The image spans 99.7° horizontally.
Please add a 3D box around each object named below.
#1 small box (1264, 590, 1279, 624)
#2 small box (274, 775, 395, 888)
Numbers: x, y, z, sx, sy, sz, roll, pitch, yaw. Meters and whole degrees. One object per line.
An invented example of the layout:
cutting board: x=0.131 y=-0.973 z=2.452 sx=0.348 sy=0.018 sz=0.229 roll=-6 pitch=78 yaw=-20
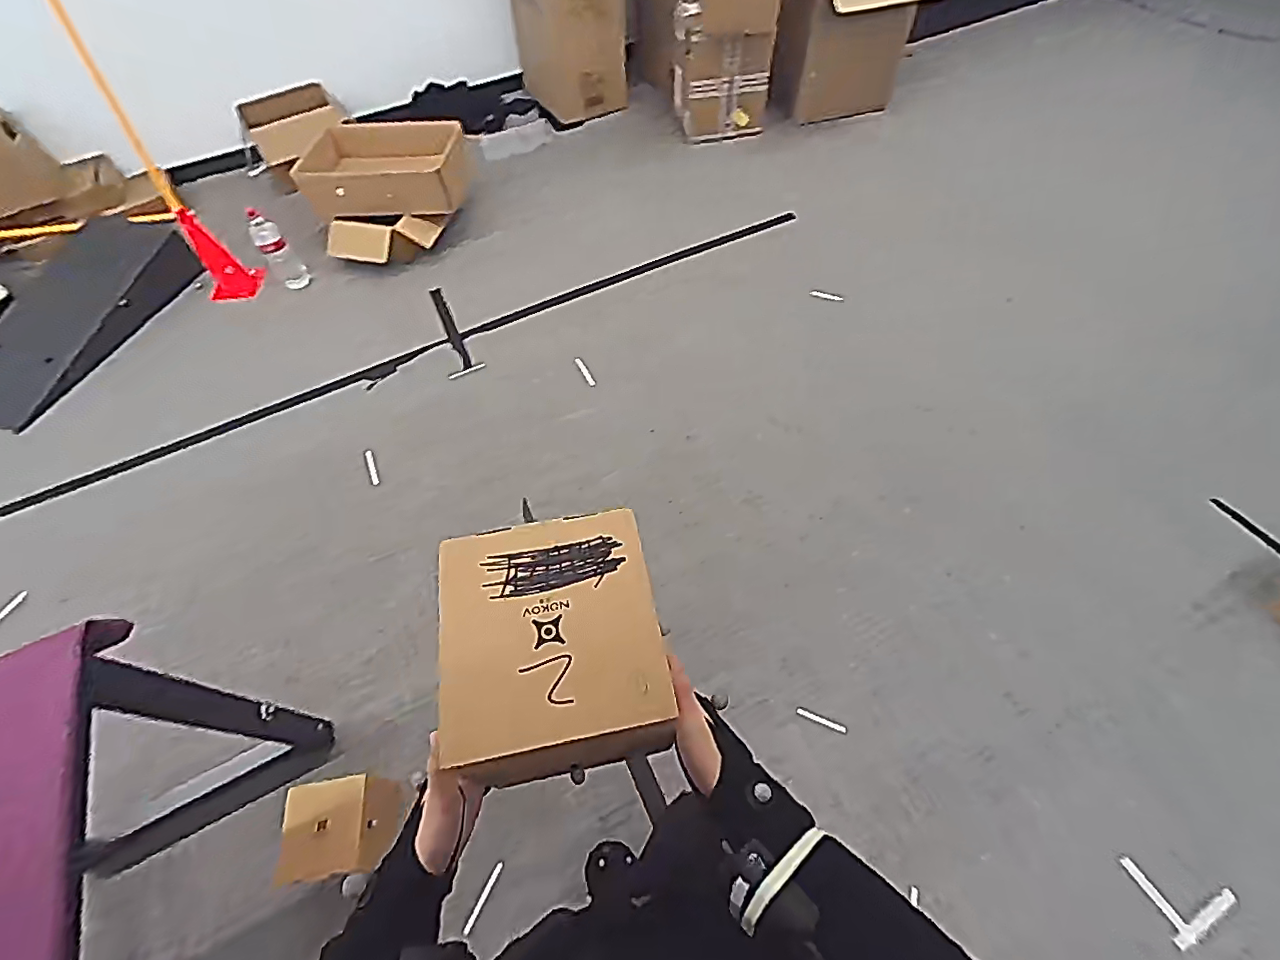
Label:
small box: x=1.742 y=0.315 z=1.340 sx=0.179 sy=0.176 sz=0.168 roll=-25 pitch=60 yaw=-14
small box: x=-0.653 y=0.765 z=1.182 sx=0.168 sy=0.176 sz=0.179 roll=-10 pitch=58 yaw=-4
